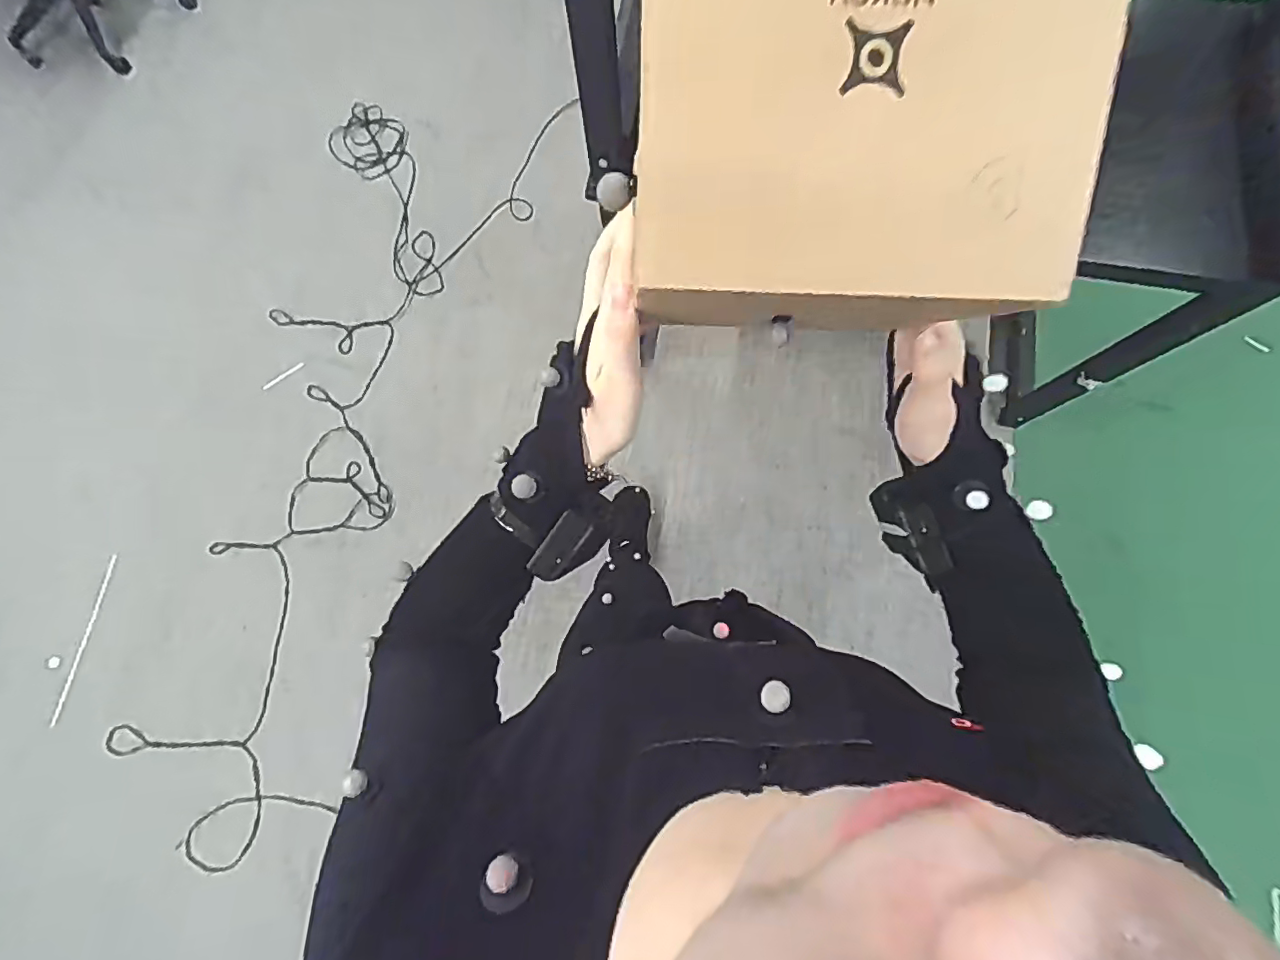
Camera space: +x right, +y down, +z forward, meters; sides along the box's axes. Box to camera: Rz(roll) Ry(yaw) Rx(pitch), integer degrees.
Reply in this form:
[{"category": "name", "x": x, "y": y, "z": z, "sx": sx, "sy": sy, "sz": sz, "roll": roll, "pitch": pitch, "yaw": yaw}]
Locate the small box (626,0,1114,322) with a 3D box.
[{"category": "small box", "x": 0.081, "y": -0.174, "z": 0.266, "sx": 0.168, "sy": 0.176, "sz": 0.179, "roll": 2, "pitch": 102, "yaw": -1}]
